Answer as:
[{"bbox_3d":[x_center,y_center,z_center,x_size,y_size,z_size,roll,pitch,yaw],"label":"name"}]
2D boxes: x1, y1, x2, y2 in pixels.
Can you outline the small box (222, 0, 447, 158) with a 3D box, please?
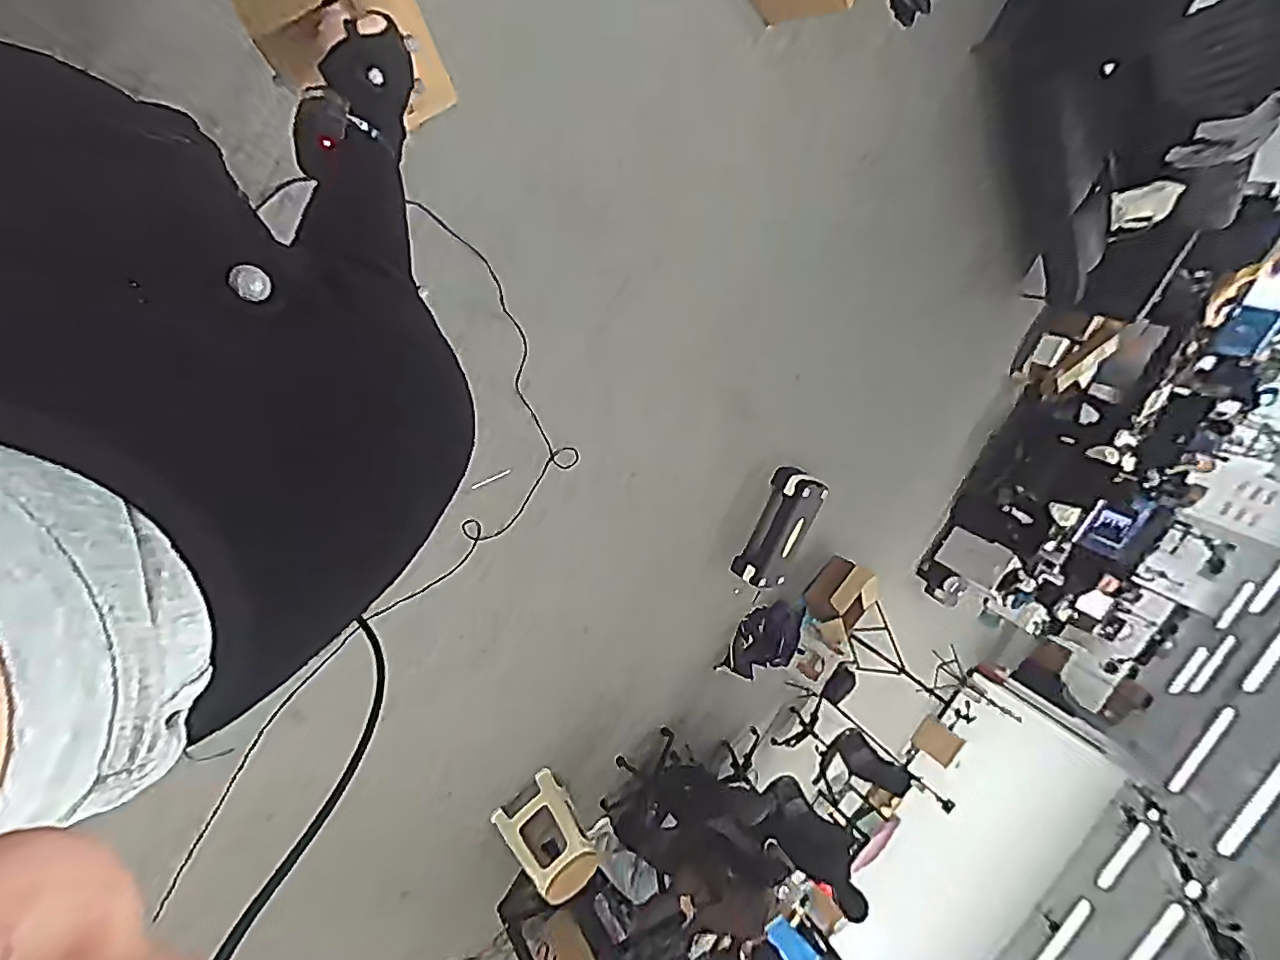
[{"bbox_3d":[-0.358,-0.521,0.636,0.168,0.179,0.176,-32,171,-6],"label":"small box"}]
